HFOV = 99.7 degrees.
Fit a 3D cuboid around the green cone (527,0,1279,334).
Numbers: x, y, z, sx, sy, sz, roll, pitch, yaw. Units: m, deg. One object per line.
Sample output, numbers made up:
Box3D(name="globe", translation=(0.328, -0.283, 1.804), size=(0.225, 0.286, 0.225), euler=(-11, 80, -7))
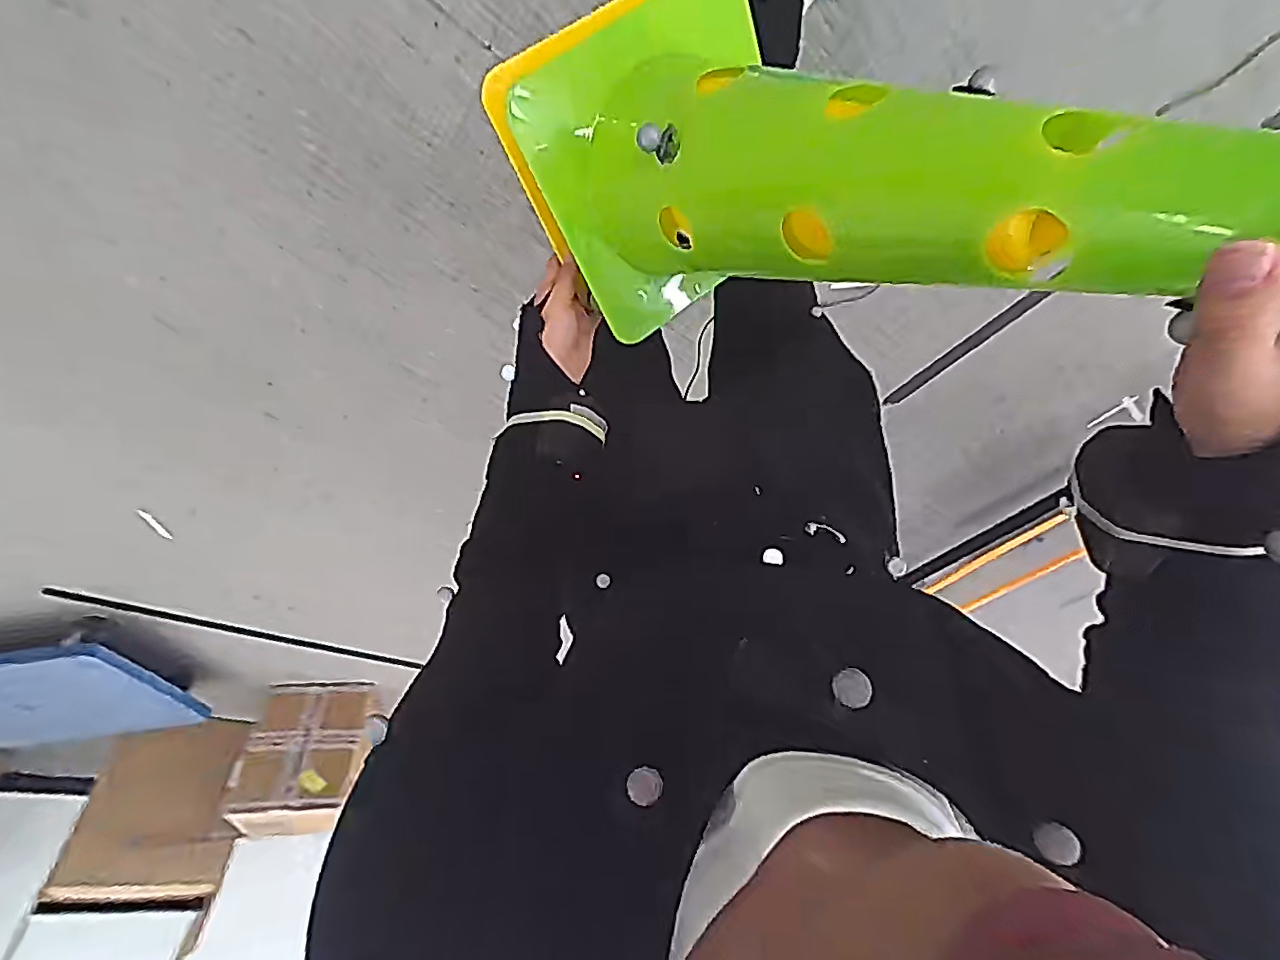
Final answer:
Box3D(name="green cone", translation=(0.120, -0.155, 0.276), size=(0.202, 0.368, 0.200), euler=(-37, 131, -7))
